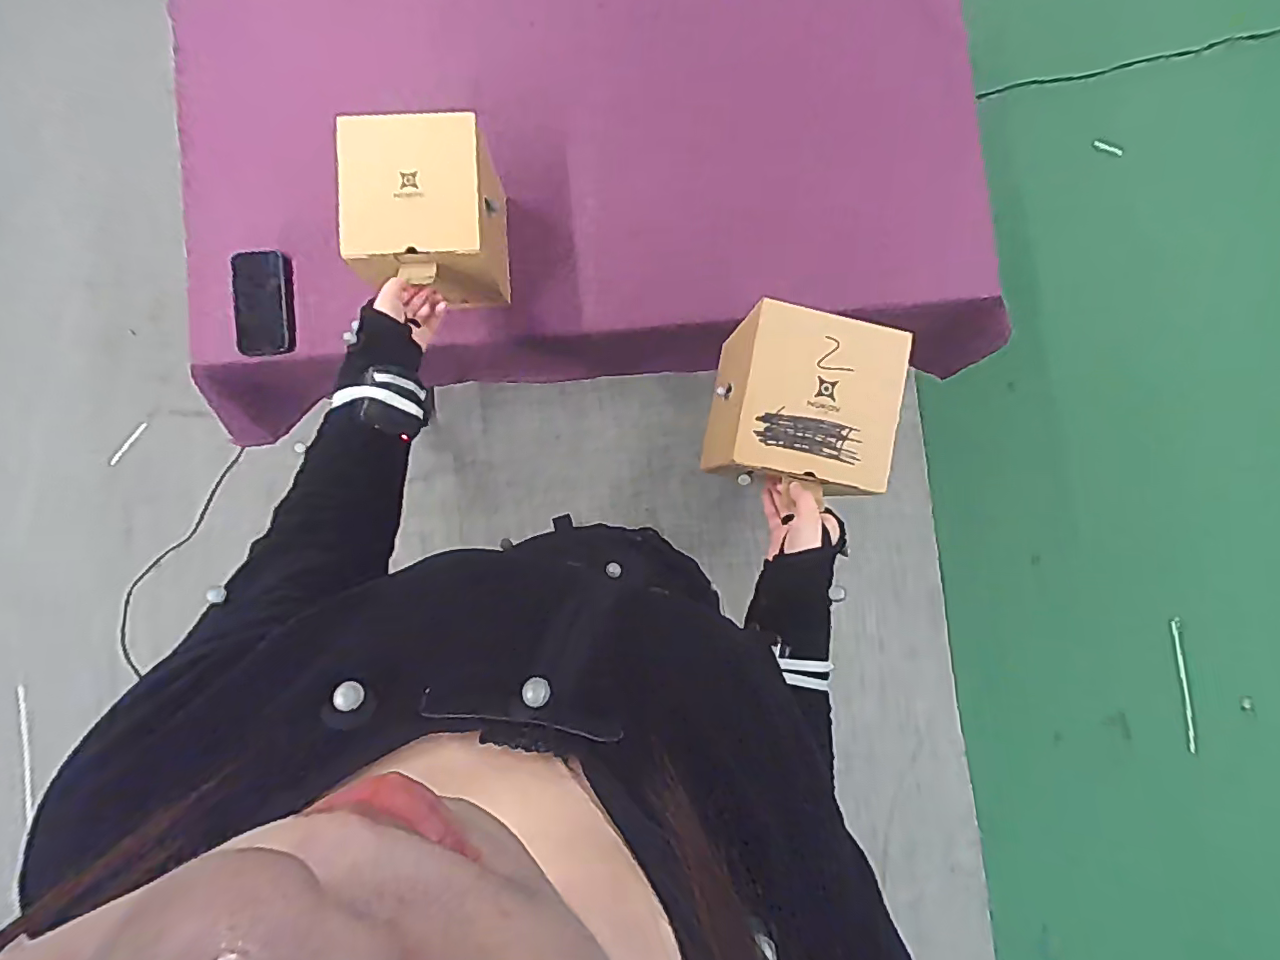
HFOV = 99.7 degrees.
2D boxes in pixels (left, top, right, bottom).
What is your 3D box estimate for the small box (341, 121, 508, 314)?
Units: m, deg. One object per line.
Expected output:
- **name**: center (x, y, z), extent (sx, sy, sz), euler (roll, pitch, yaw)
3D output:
- **small box**: center (-0.275, -0.339, 0.723), extent (0.168, 0.176, 0.179), euler (-3, 87, -3)
